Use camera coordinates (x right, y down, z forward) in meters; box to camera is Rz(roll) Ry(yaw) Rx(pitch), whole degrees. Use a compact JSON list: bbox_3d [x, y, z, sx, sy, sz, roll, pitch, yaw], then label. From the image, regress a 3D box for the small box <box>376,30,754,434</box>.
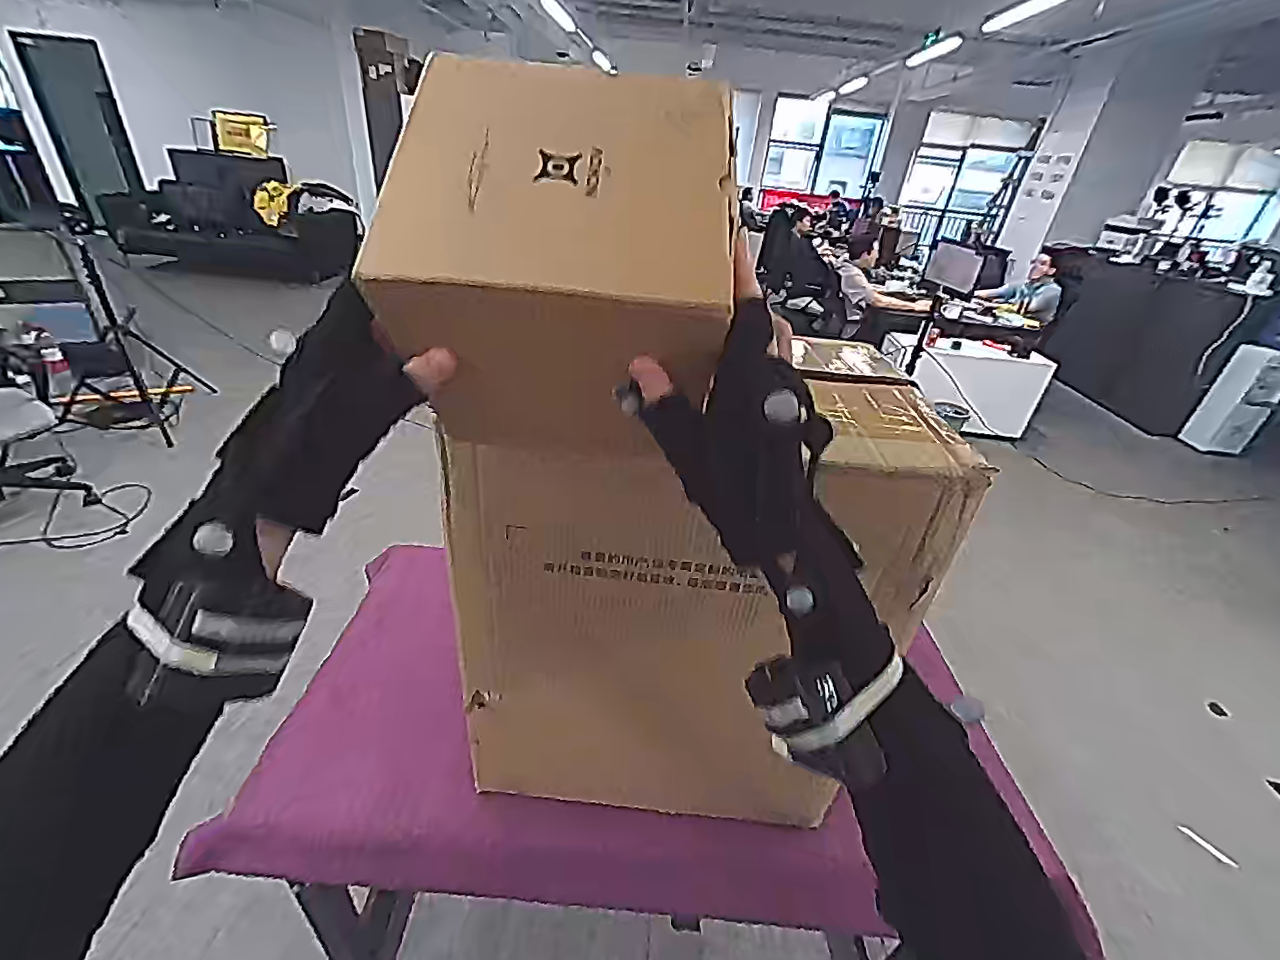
[{"bbox_3d":[-0.034,-0.141,0.351,0.179,0.176,0.168,4,66,-1],"label":"small box"}]
